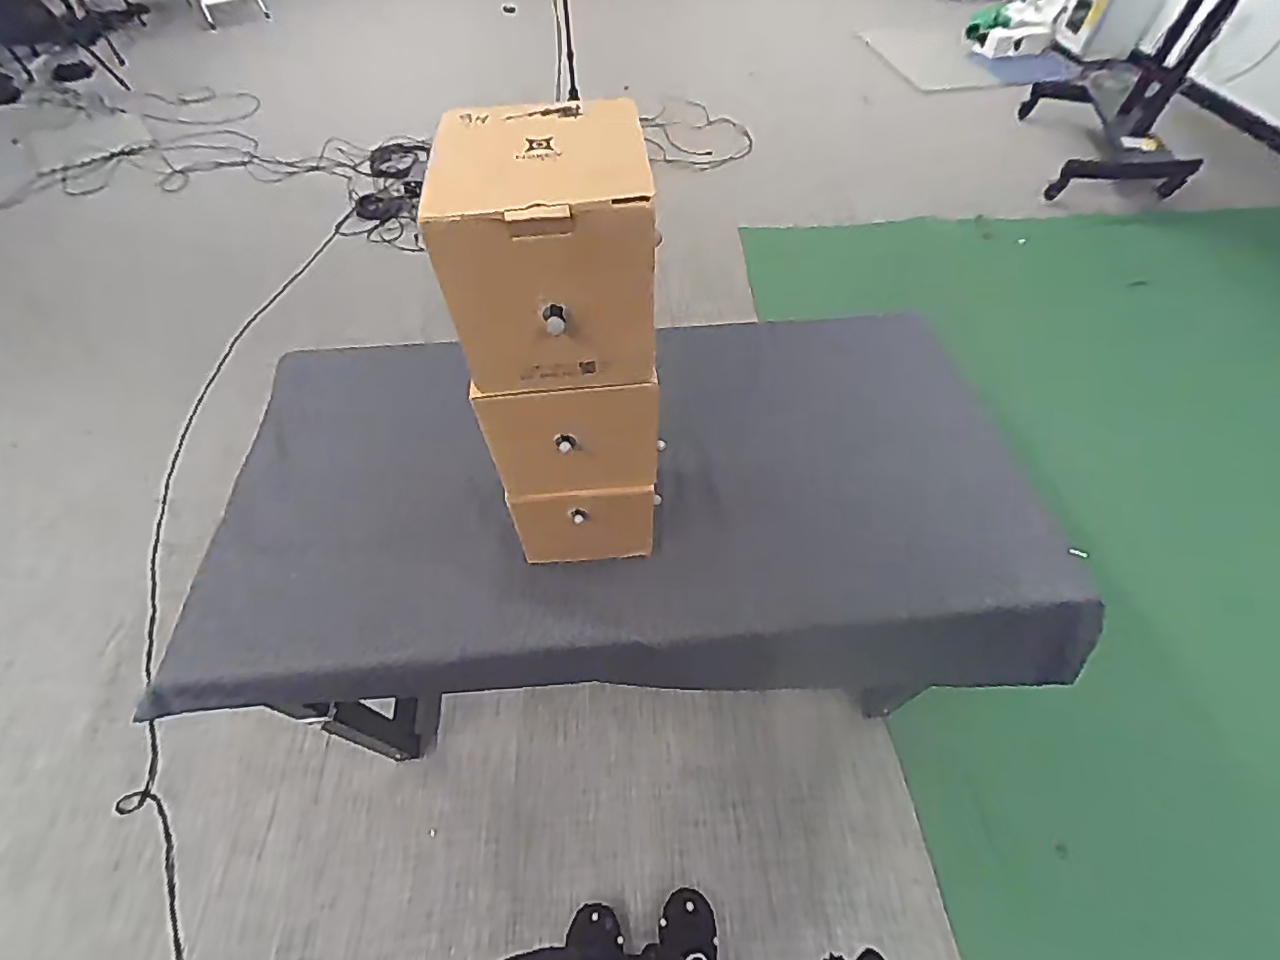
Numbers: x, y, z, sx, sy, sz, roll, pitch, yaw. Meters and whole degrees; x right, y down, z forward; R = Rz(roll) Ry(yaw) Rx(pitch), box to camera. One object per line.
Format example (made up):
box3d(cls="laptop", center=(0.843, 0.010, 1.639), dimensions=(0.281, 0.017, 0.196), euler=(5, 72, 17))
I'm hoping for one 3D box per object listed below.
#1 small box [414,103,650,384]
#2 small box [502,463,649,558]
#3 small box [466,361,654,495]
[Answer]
box3d(cls="small box", center=(-0.079, -0.199, 0.480), dimensions=(0.168, 0.176, 0.179), euler=(-5, 56, -3))
box3d(cls="small box", center=(-0.081, -0.003, 0.742), dimensions=(0.179, 0.176, 0.168), euler=(-3, 56, -4))
box3d(cls="small box", center=(-0.081, -0.099, 0.609), dimensions=(0.179, 0.176, 0.168), euler=(-6, 56, -2))
